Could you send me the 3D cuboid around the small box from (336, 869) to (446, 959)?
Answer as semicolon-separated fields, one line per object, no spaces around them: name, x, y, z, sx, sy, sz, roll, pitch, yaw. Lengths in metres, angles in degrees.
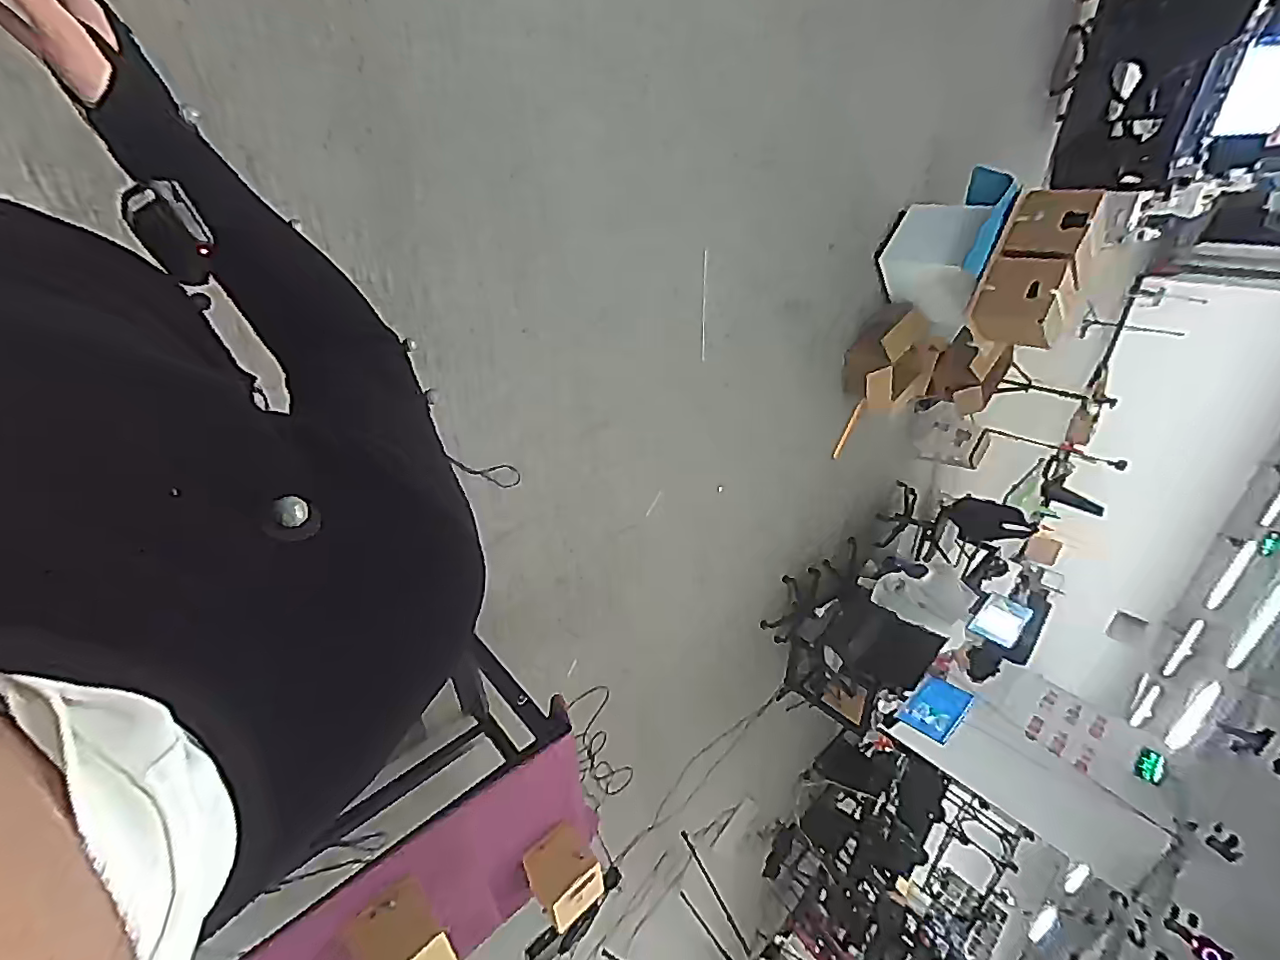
small box;-0.573;1.056;1.246;0.168;0.176;0.179;-25;128;-35
